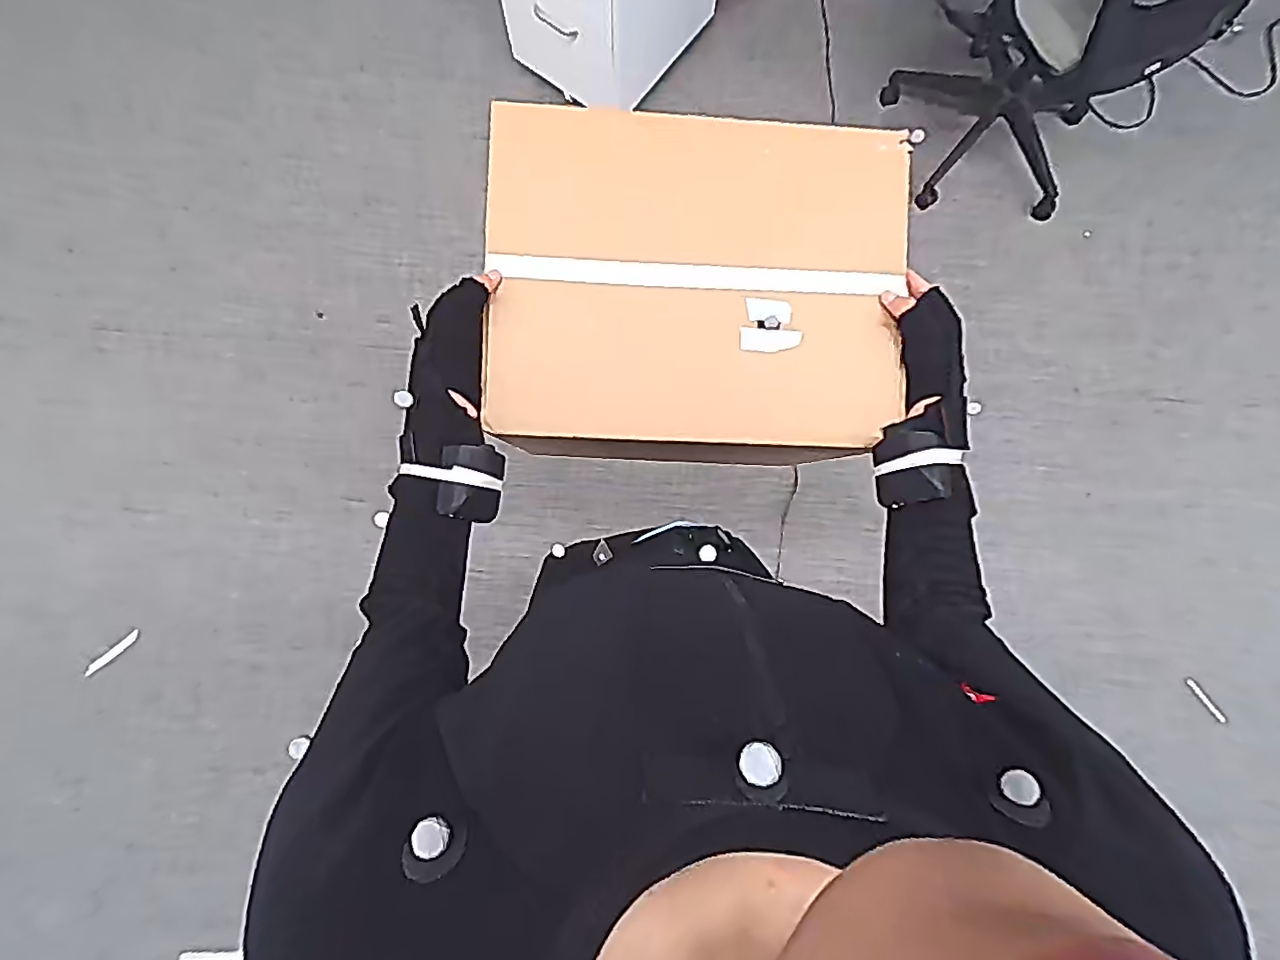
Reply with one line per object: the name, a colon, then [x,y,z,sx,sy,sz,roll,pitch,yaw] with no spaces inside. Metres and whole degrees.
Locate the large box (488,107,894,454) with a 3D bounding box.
large box: [0.043,-0.199,0.678,0.408,0.320,0.320,2,90,-4]
